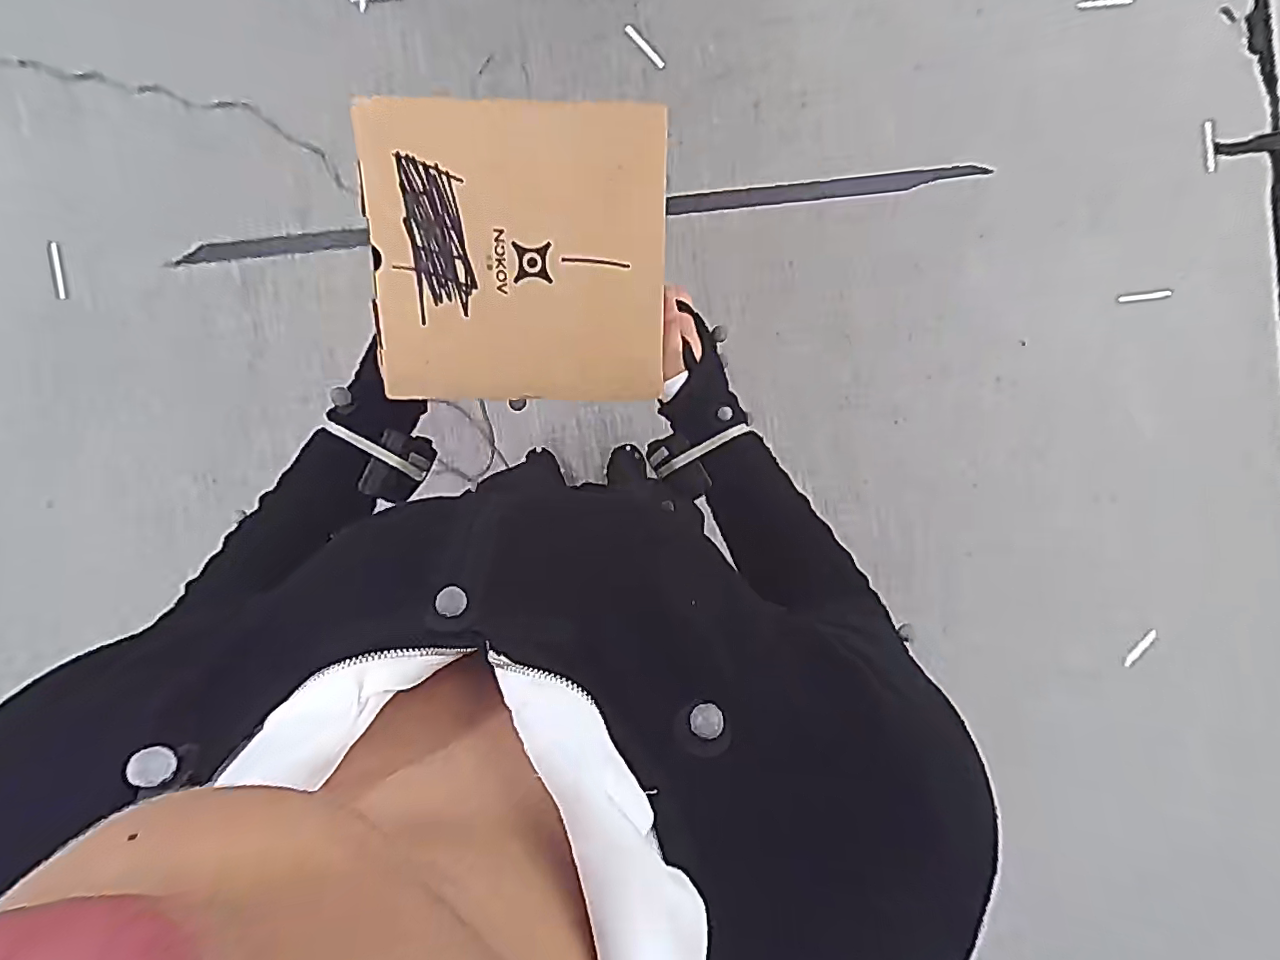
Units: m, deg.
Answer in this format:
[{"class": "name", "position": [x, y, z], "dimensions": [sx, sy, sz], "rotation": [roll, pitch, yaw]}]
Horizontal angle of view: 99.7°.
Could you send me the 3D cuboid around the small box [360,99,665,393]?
[{"class": "small box", "position": [-0.075, -0.157, 0.404], "dimensions": [0.179, 0.176, 0.168], "rotation": [-1, 107, -2]}]
